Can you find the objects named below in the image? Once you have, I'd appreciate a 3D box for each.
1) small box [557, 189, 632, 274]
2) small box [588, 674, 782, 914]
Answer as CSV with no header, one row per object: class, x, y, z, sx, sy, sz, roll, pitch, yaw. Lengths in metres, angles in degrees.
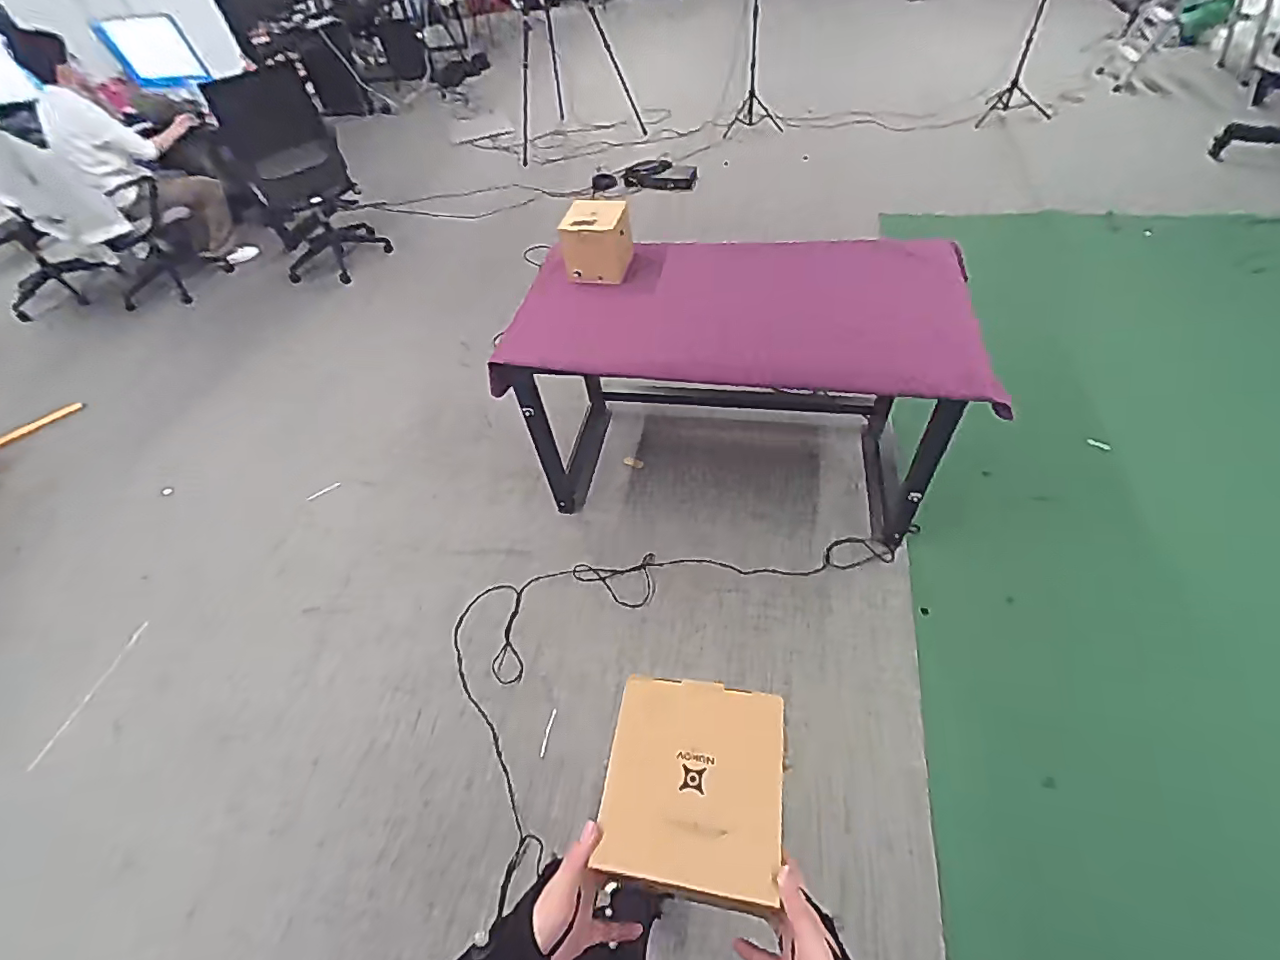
small box,-0.125,-0.724,1.581,0.168,0.176,0.179,8,54,11
small box,0.055,0.332,0.573,0.168,0.176,0.179,5,52,11
